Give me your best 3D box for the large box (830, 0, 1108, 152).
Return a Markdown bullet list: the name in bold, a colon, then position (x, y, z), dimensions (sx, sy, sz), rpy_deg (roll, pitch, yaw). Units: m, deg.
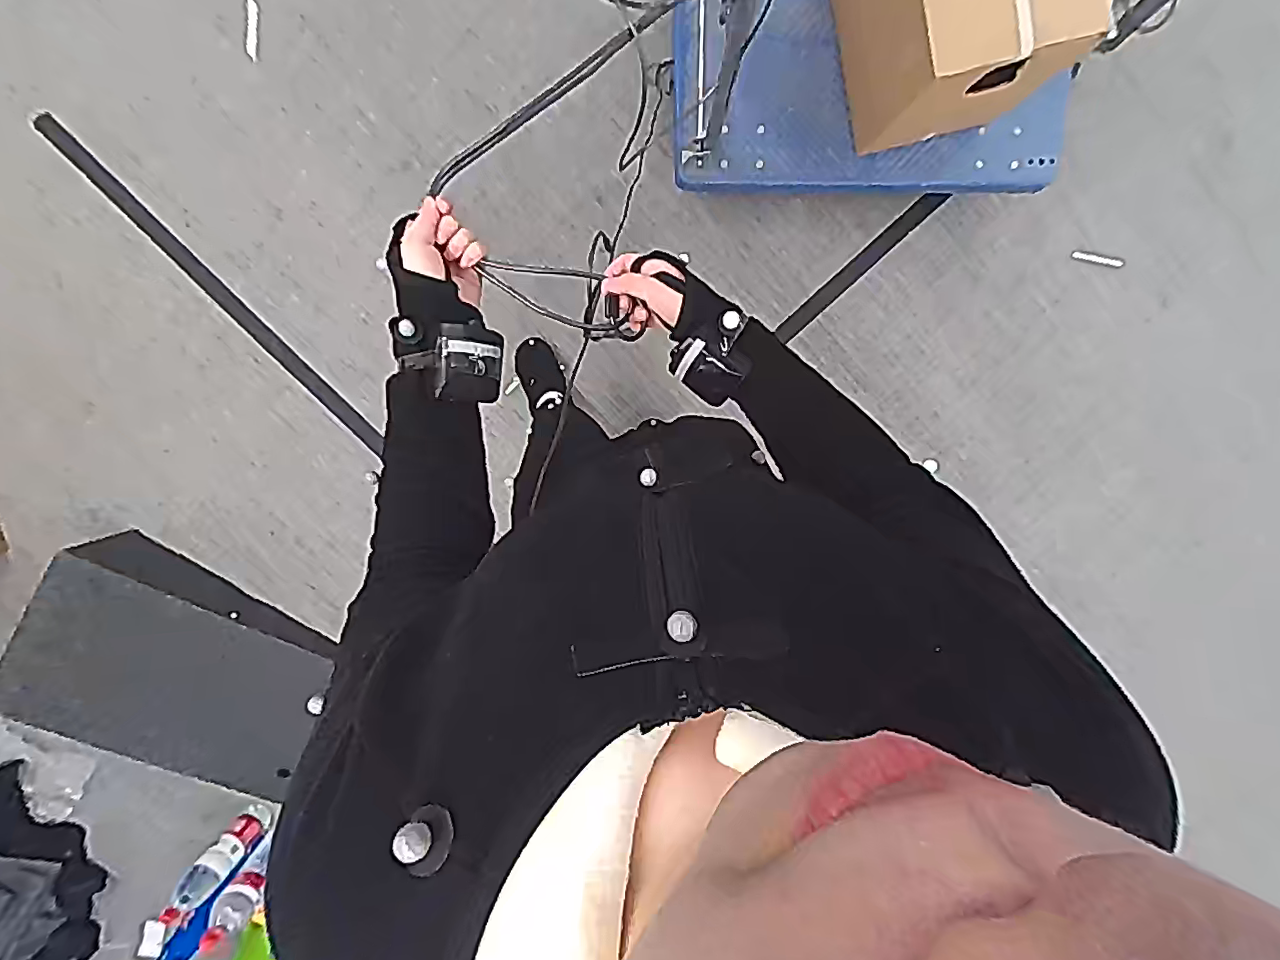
- **large box**: position (0.584, -0.926, 1.022), dimensions (0.320, 0.320, 0.408), rpy_deg (-14, 100, 1)
